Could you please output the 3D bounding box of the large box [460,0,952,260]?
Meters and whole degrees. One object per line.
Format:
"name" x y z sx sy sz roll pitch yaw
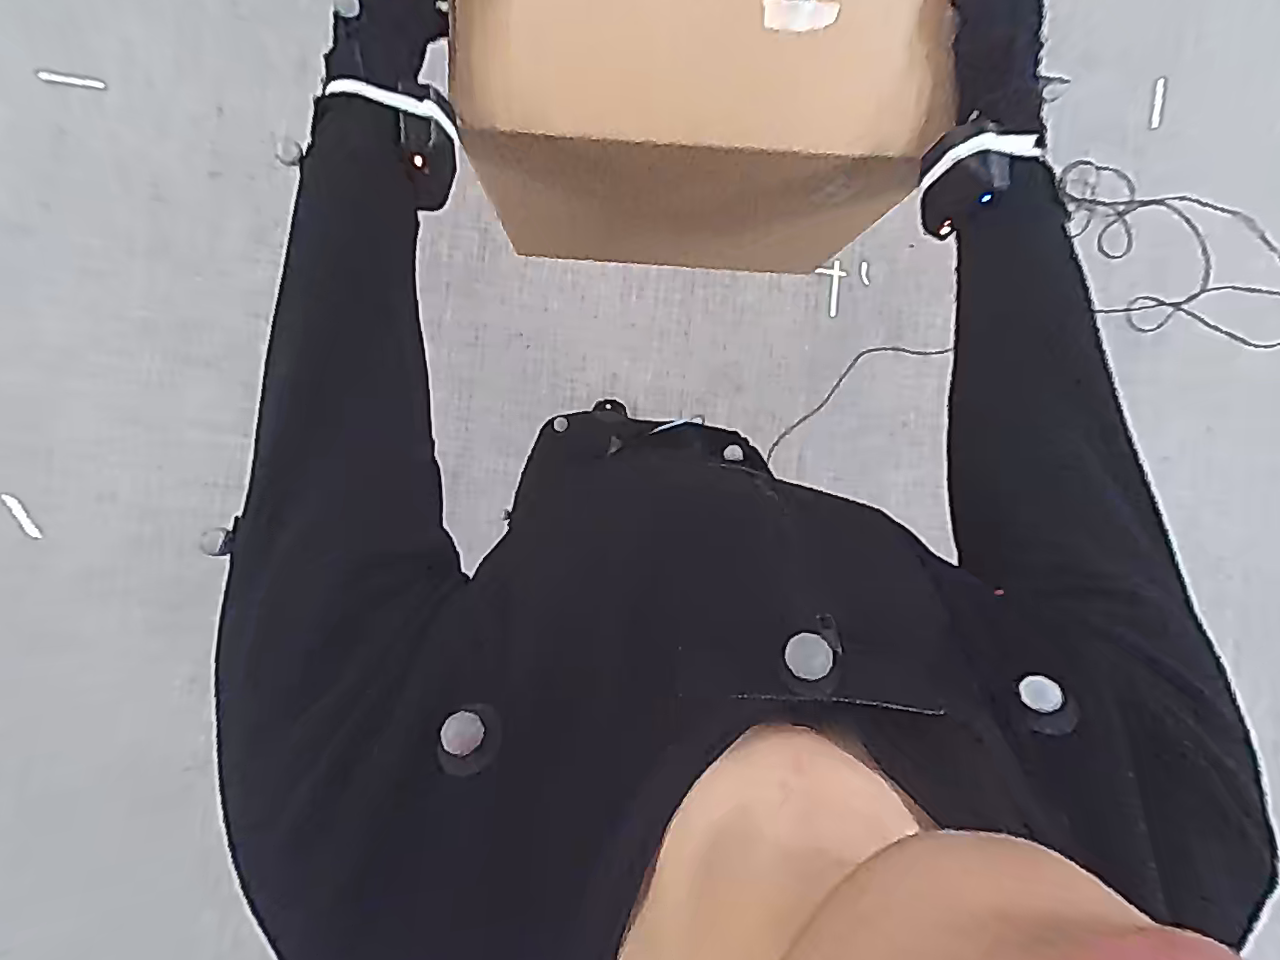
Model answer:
"large box" 0.048 -0.447 0.575 0.408 0.320 0.320 2 95 -4
